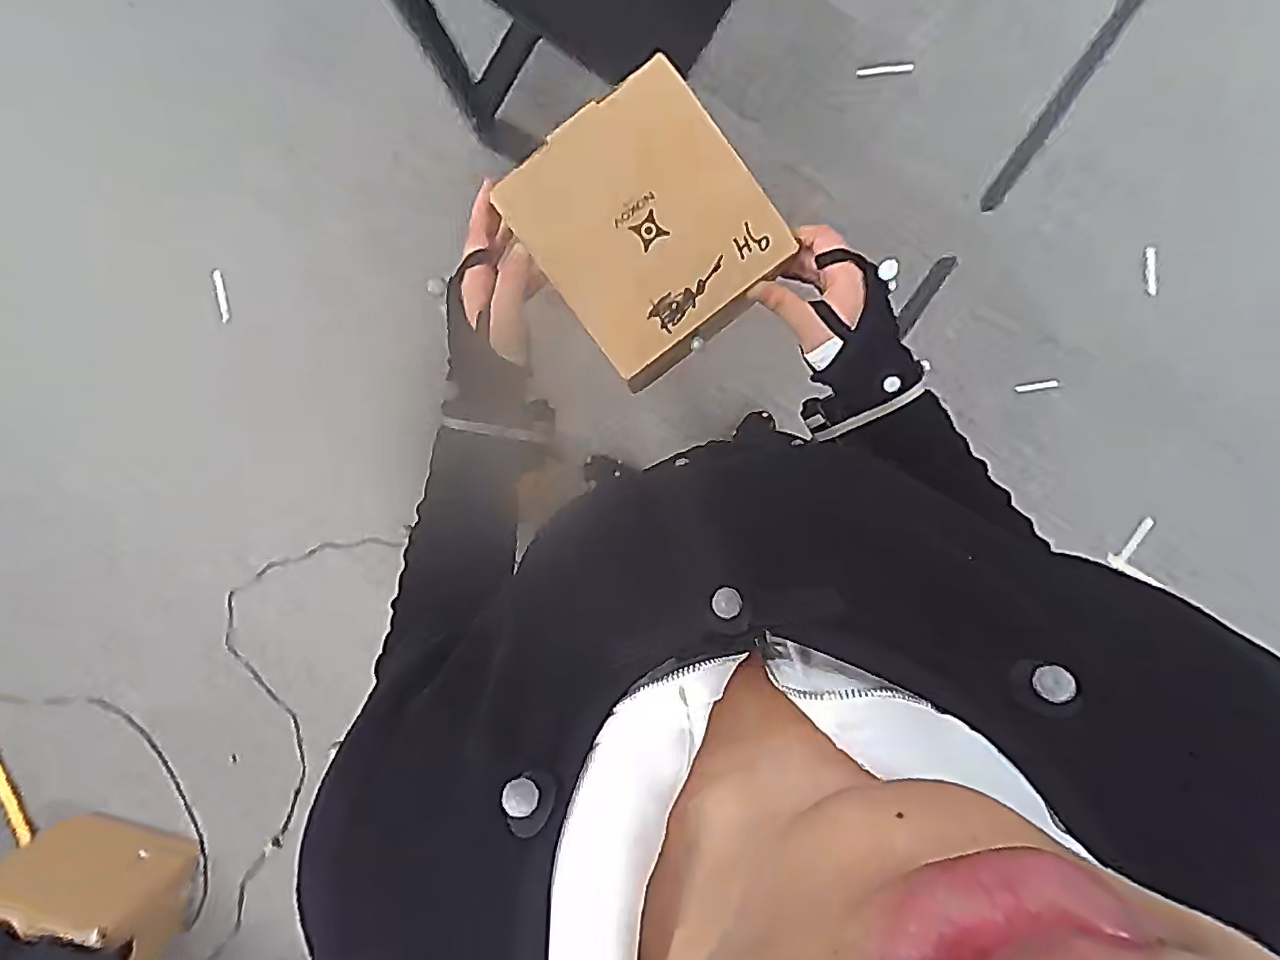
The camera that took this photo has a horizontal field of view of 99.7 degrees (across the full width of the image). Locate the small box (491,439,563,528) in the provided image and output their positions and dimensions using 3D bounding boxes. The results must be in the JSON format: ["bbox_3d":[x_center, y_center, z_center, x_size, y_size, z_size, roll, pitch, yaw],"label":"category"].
[{"bbox_3d":[-0.326,0.004,1.433,0.179,0.176,0.168,29,96,-1],"label":"small box"}]
